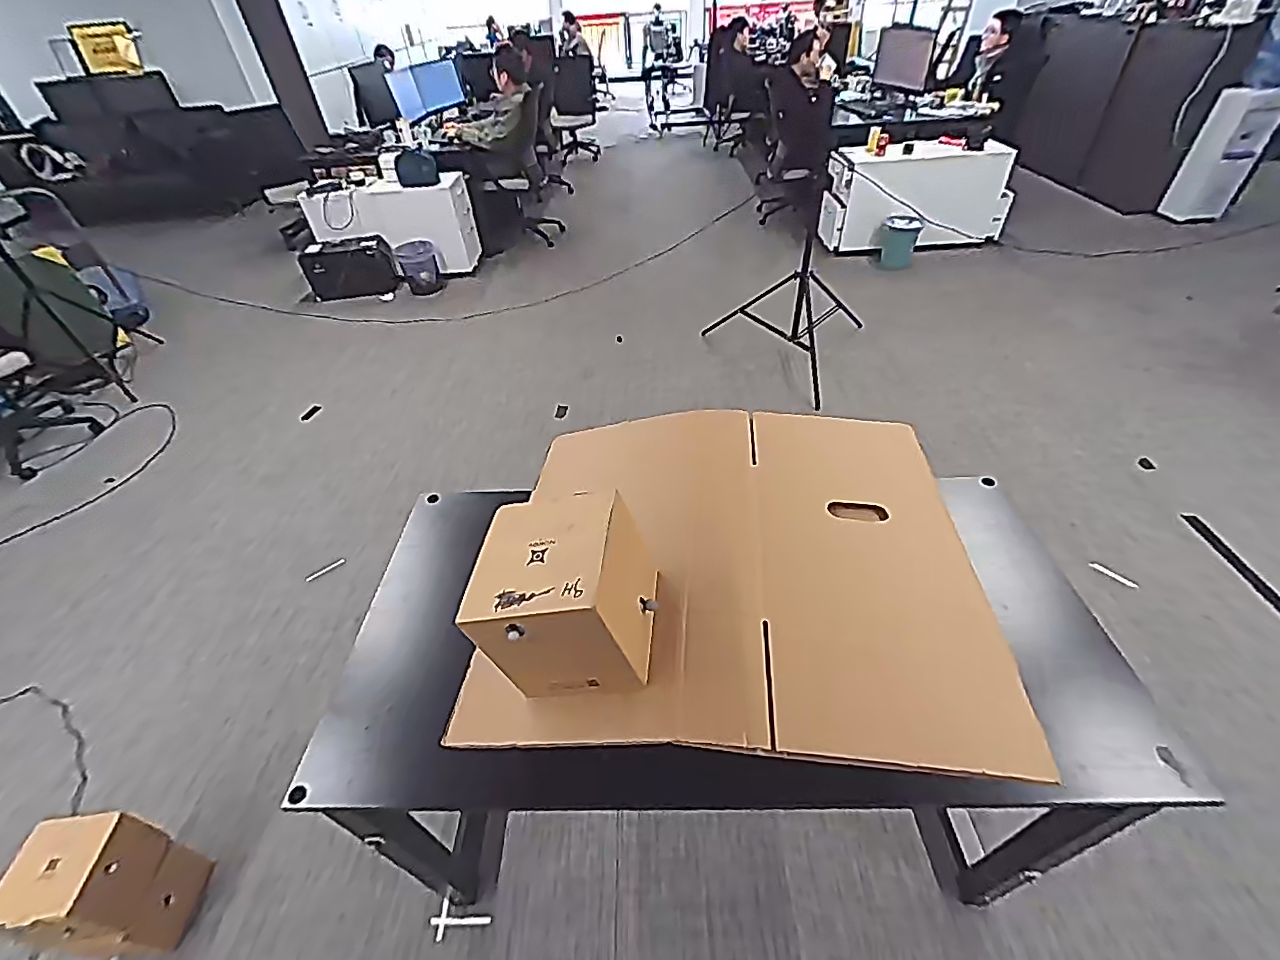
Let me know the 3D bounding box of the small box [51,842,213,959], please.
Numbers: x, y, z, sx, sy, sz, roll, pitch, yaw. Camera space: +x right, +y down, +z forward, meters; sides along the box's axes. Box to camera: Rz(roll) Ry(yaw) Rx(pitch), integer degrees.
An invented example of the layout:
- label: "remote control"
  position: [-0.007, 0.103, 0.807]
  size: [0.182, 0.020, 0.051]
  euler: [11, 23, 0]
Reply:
- label: "small box"
  position: [-1.105, 0.934, 1.201]
  size: [0.168, 0.176, 0.179]
  euler: [-5, 43, 0]

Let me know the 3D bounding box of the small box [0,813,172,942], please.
- label: "small box"
  position: [-1.116, 0.809, 1.097]
  size: [0.168, 0.176, 0.179]
  euler: [-6, 41, -3]

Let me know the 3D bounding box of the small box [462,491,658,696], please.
- label: "small box"
  position: [-0.082, 0.142, 0.669]
  size: [0.168, 0.176, 0.179]
  euler: [-11, 39, 17]
